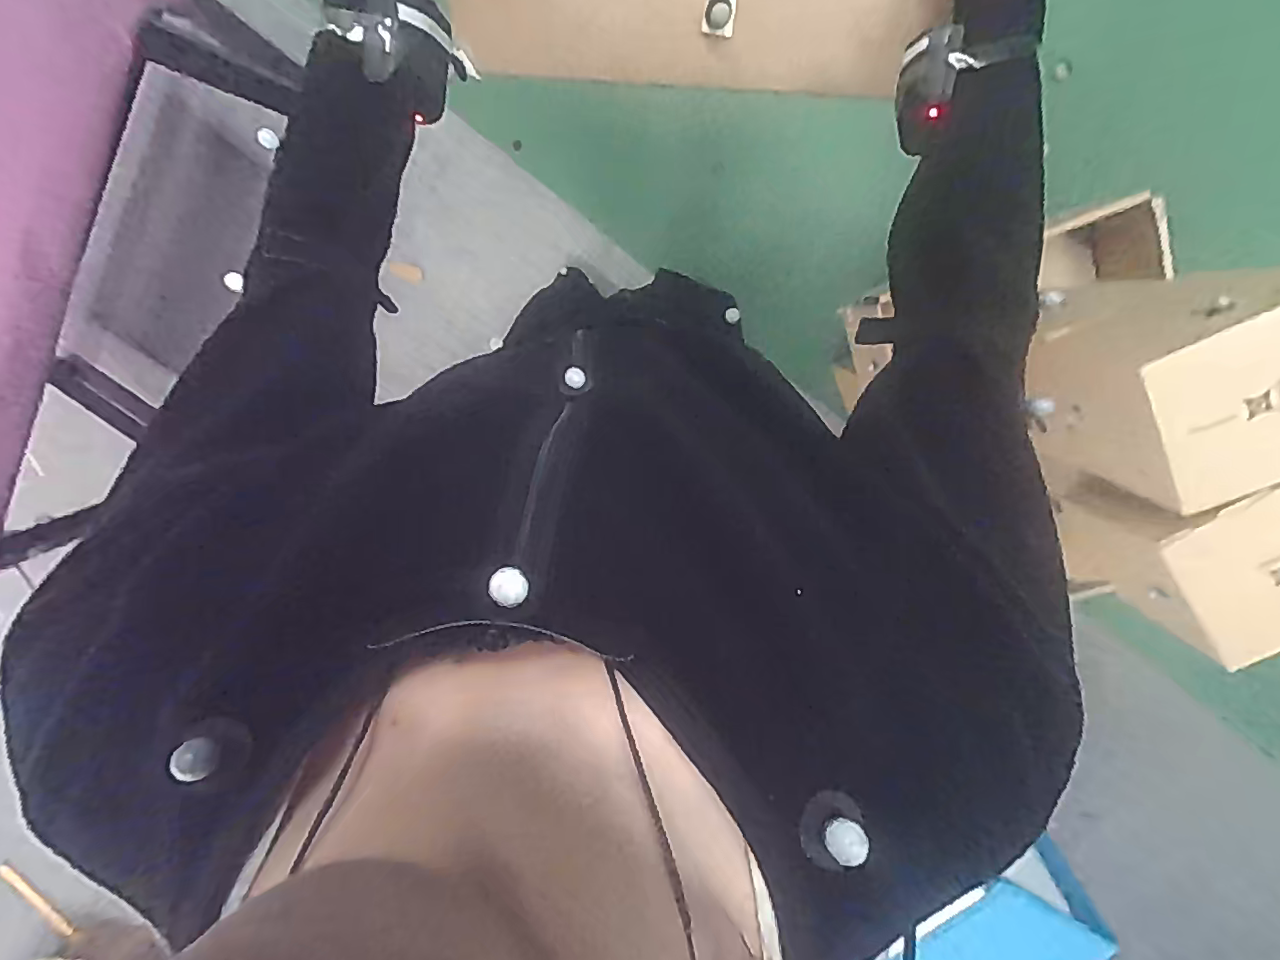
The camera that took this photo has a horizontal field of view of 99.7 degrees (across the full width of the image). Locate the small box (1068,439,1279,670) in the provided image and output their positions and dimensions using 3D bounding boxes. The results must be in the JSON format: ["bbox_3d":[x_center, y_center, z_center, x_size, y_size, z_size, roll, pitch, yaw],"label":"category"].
[{"bbox_3d":[0.642,0.068,0.610,0.168,0.176,0.179,-33,100,15],"label":"small box"}]
